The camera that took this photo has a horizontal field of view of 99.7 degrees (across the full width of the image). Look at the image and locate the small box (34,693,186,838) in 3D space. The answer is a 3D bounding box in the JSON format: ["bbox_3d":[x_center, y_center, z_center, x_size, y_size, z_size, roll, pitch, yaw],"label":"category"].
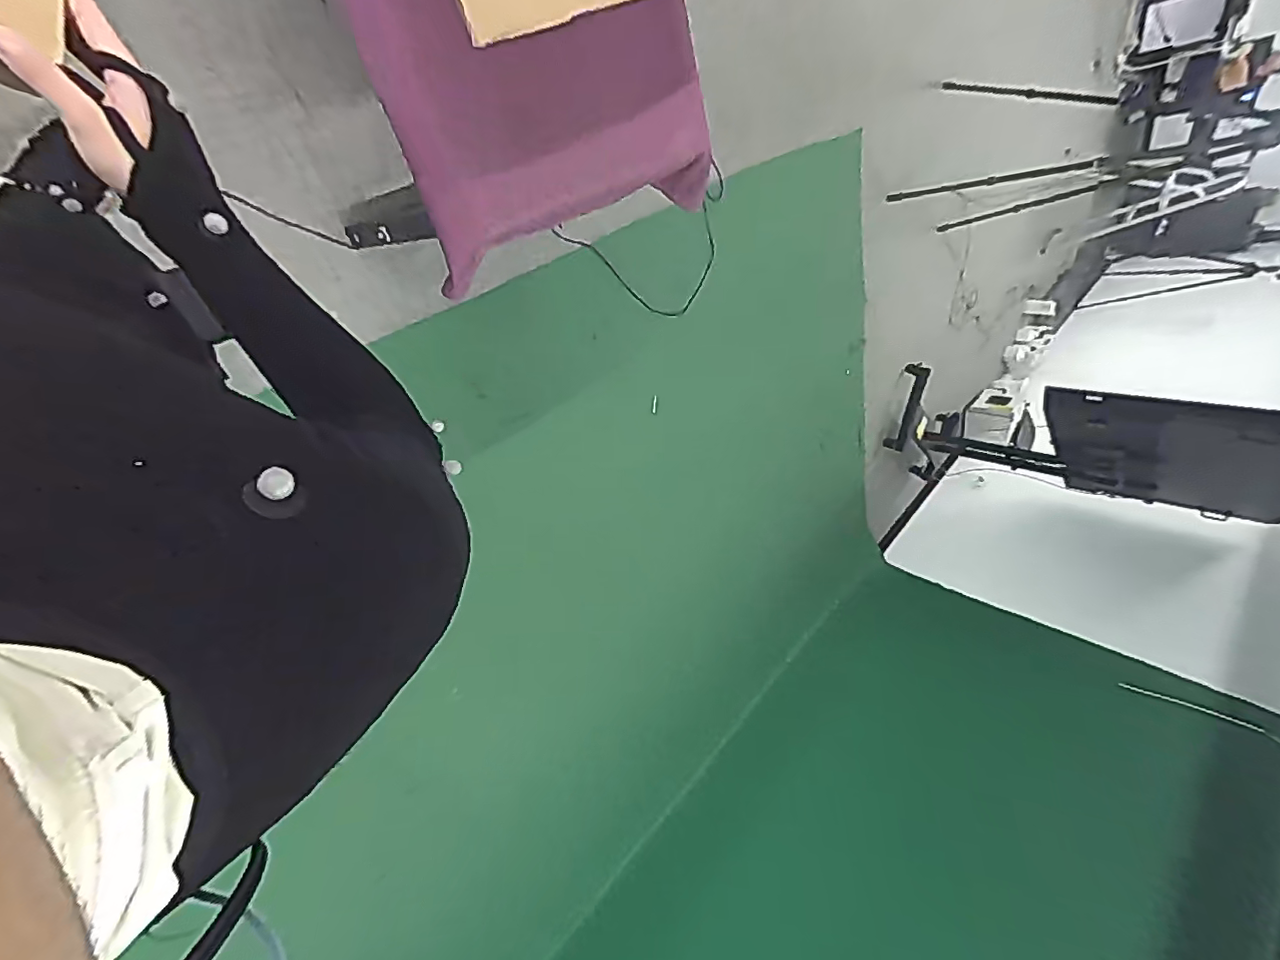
[{"bbox_3d":[-1.107,0.592,1.142,0.168,0.176,0.179,-32,126,-32],"label":"small box"}]

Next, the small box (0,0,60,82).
[{"bbox_3d":[-0.487,-0.392,0.340,0.168,0.176,0.179,-3,109,-49],"label":"small box"}]
